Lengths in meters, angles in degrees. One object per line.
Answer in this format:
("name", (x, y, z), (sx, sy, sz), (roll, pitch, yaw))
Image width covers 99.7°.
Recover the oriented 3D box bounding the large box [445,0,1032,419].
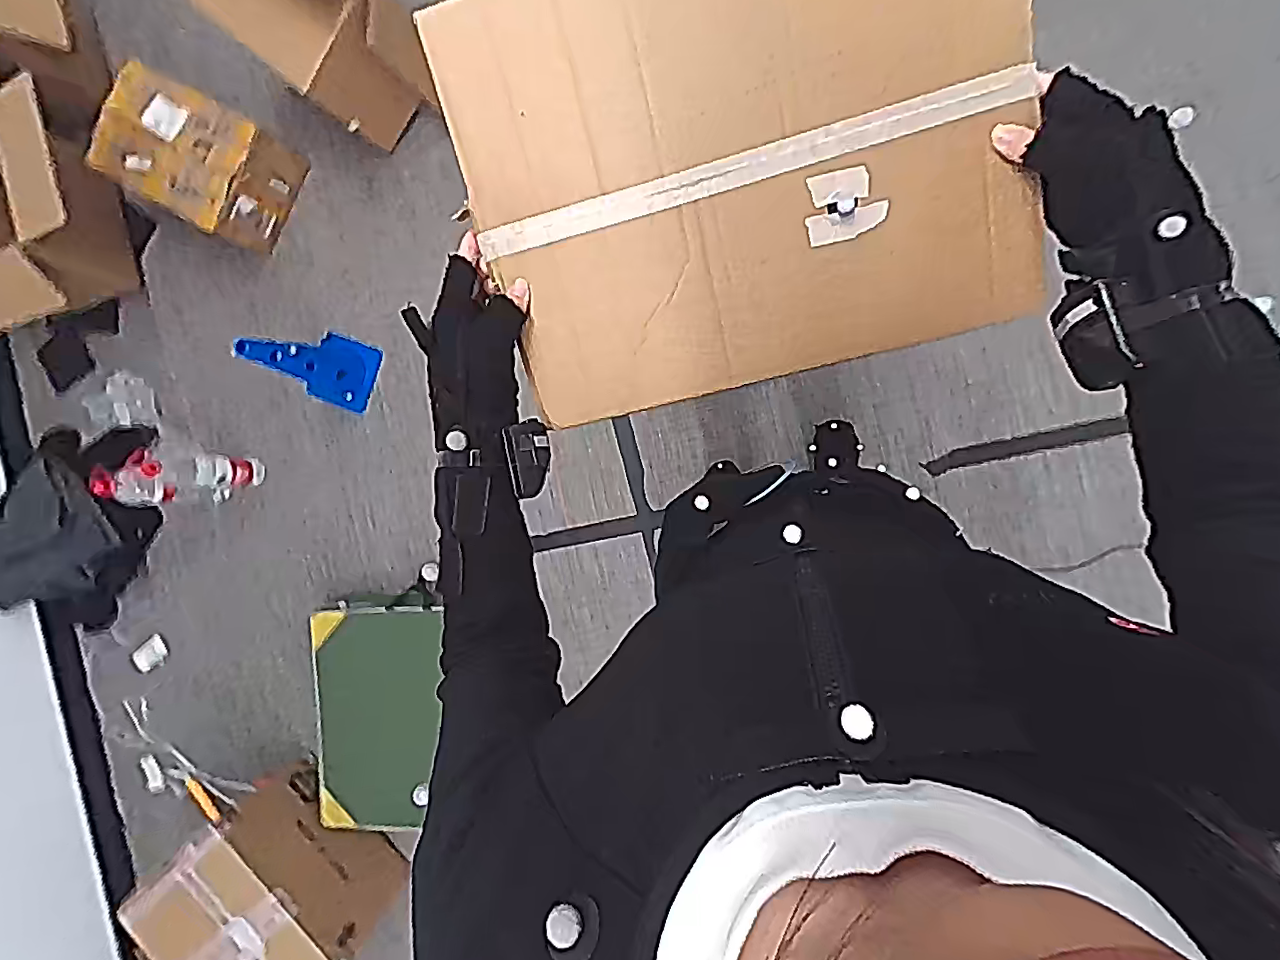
("large box", (0.090, -0.280, 0.555), (0.408, 0.320, 0.320), (-12, 107, 8))
